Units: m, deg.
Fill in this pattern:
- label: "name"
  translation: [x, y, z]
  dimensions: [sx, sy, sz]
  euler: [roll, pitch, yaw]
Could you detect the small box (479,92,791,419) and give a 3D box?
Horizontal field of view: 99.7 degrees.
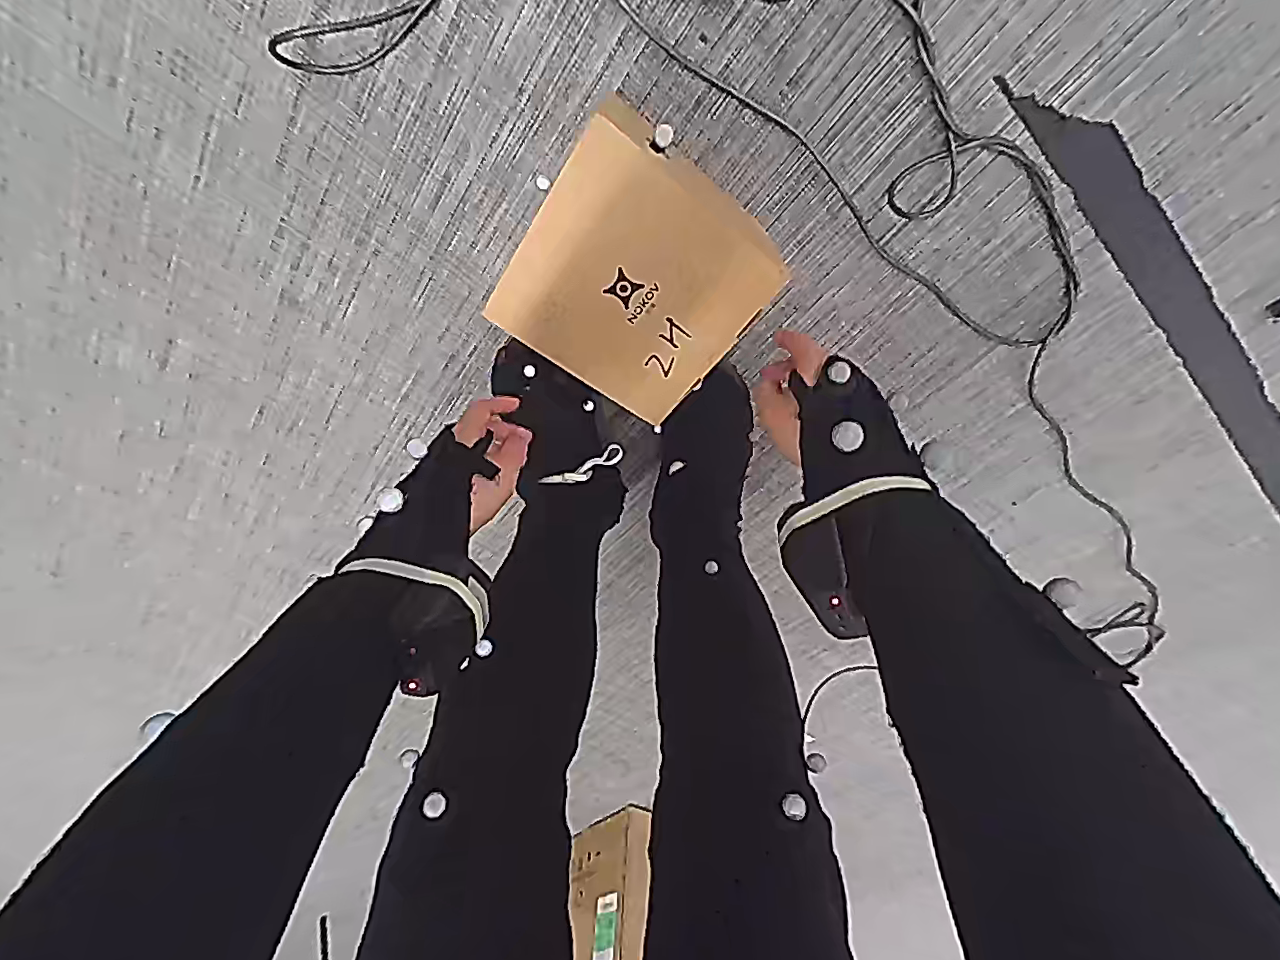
- label: "small box"
  translation: [-0.005, -0.192, 0.462]
  dimensions: [0.179, 0.176, 0.168]
  euler: [31, 123, -21]
